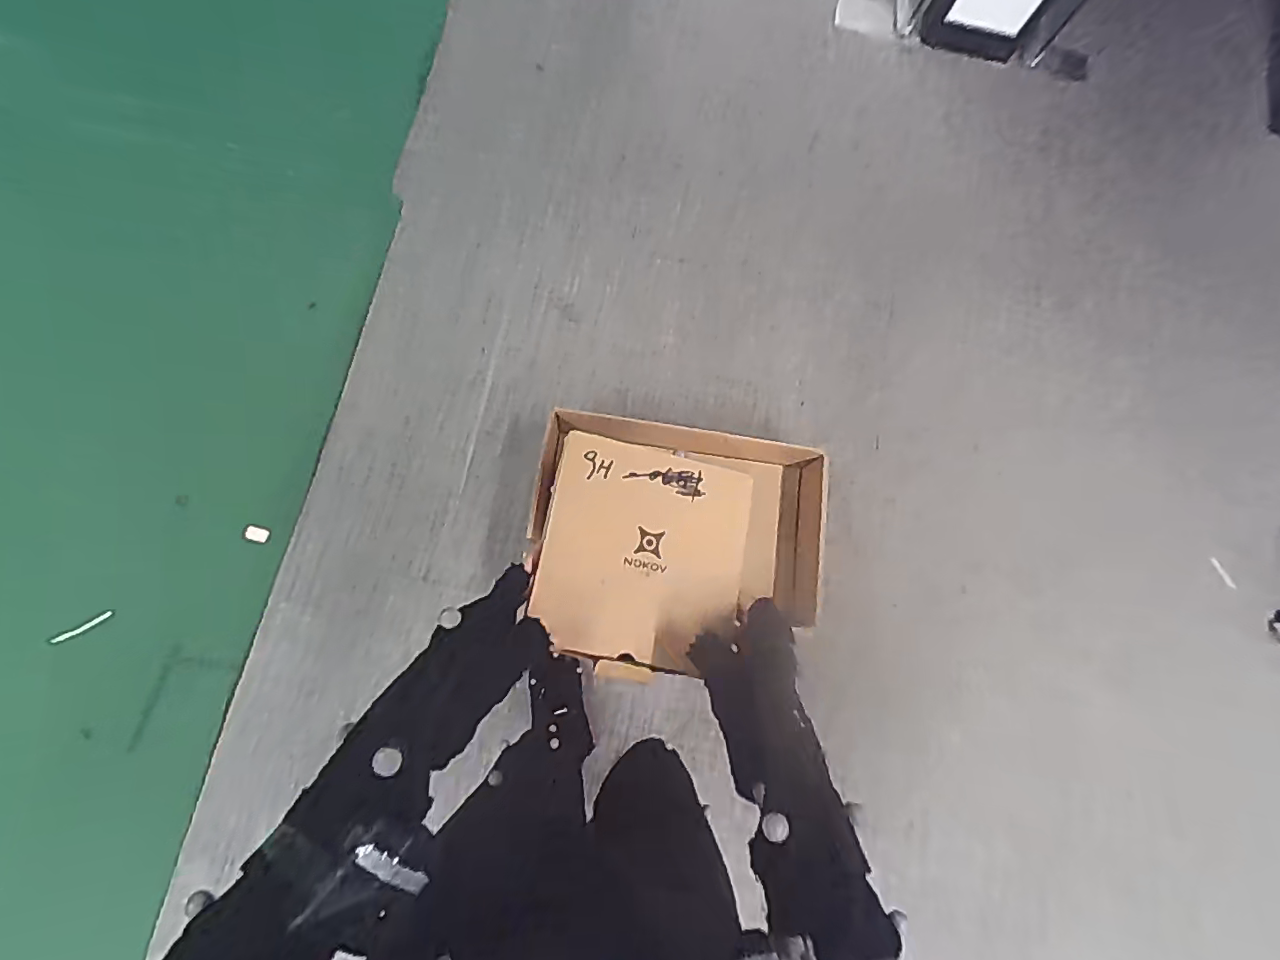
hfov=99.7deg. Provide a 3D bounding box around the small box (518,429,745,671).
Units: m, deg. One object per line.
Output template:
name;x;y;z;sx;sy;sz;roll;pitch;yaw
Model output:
small box;-0.015;0.073;0.528;0.168;0.176;0.179;13;76;-8
